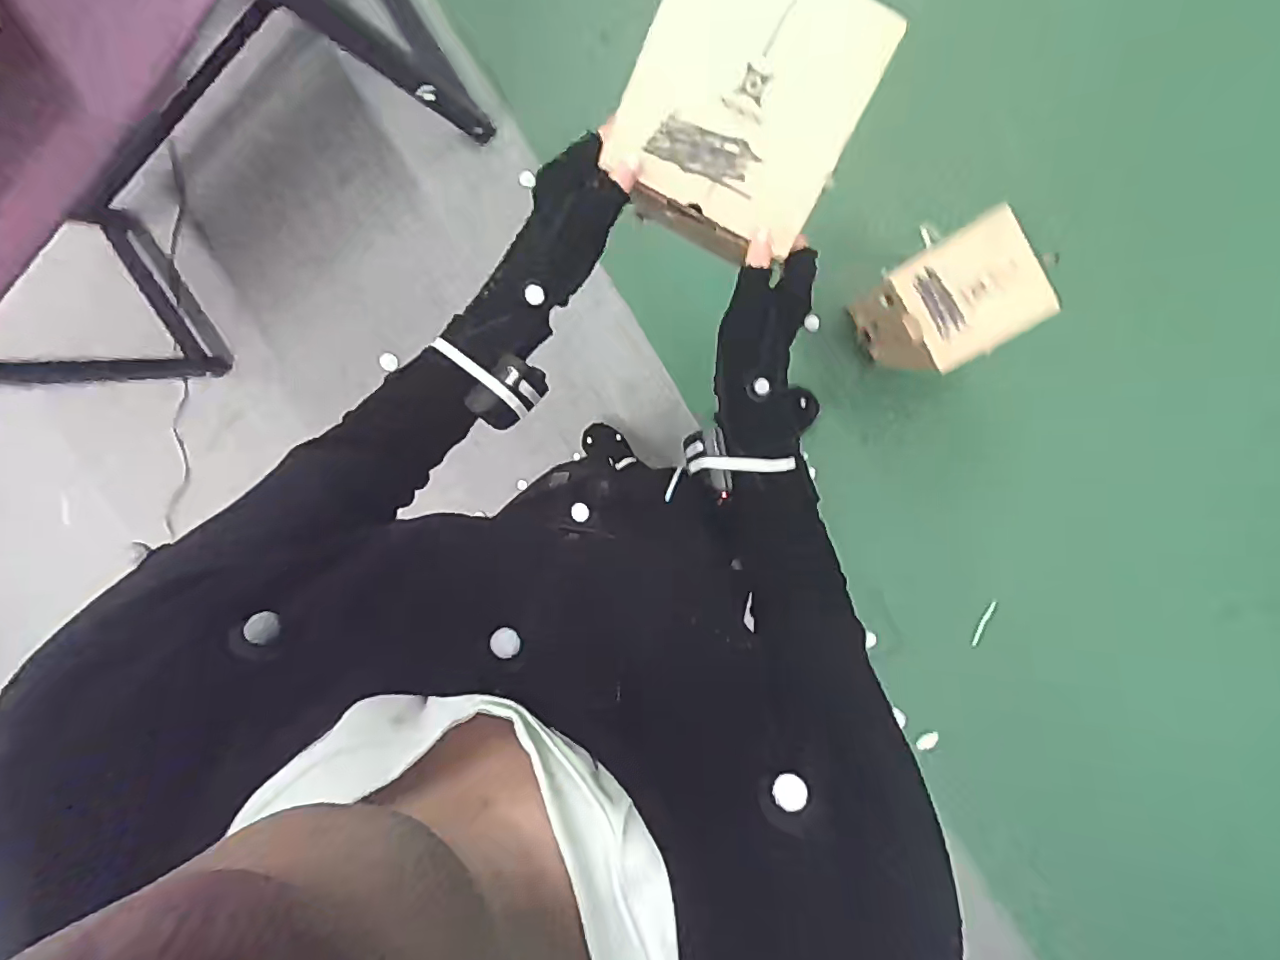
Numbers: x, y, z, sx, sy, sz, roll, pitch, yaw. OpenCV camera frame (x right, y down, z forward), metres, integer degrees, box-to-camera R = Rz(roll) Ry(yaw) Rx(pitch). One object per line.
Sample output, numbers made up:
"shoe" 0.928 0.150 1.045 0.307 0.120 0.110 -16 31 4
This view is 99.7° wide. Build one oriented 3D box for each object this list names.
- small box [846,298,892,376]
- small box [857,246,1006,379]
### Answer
"small box" 0.575 -0.344 1.180 0.179 0.176 0.168 -28 95 18
"small box" 0.538 -0.310 1.025 0.179 0.176 0.168 -29 95 18
